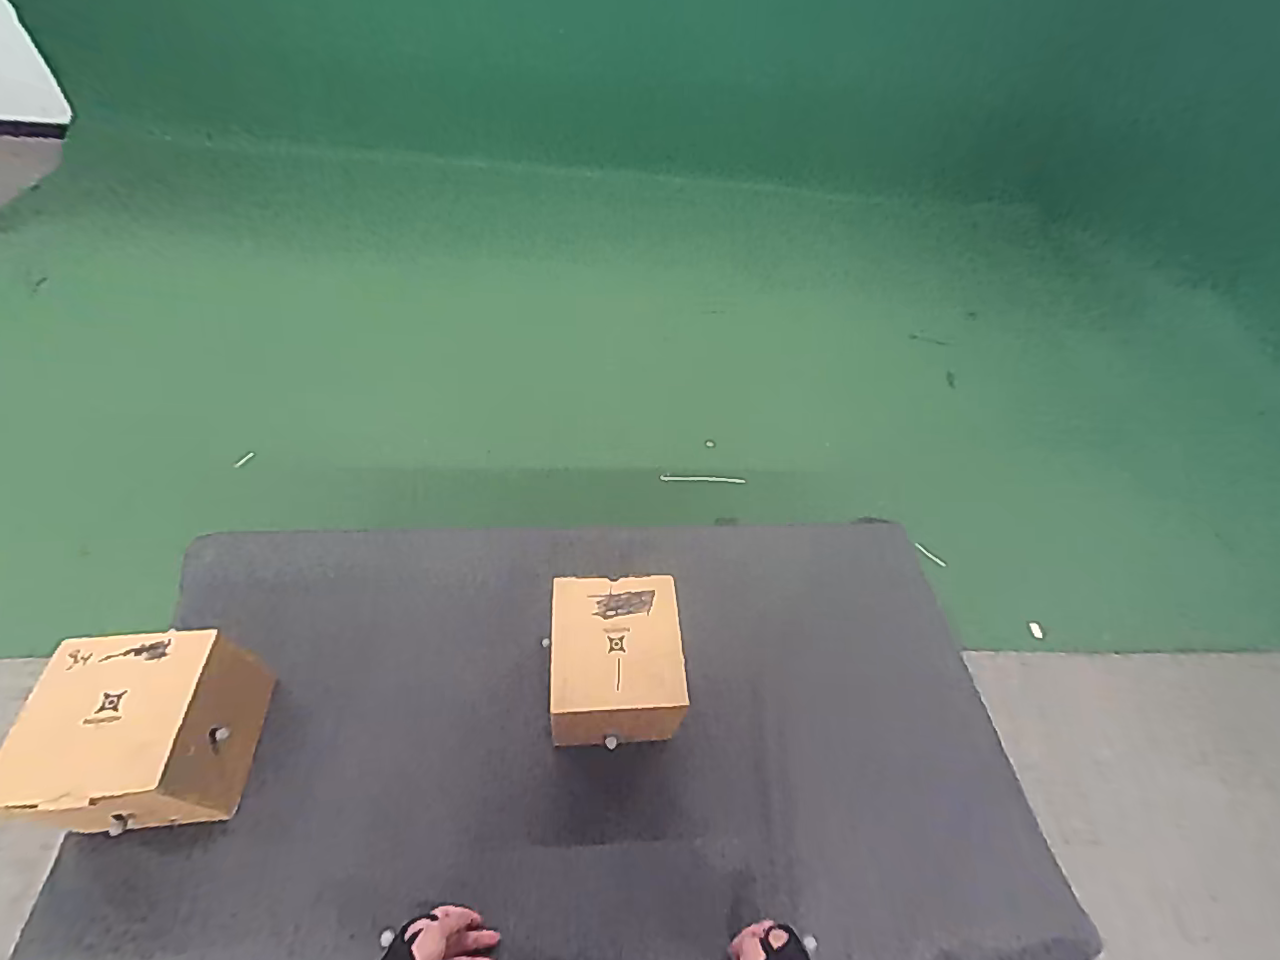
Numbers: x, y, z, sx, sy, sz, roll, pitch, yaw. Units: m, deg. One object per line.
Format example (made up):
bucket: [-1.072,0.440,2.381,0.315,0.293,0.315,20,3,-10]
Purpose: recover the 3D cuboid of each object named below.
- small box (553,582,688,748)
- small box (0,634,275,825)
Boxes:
small box: [-0.036,0.259,0.755,0.168,0.176,0.179,0,53,-7]
small box: [-0.576,0.302,0.647,0.168,0.176,0.179,-1,53,-9]
